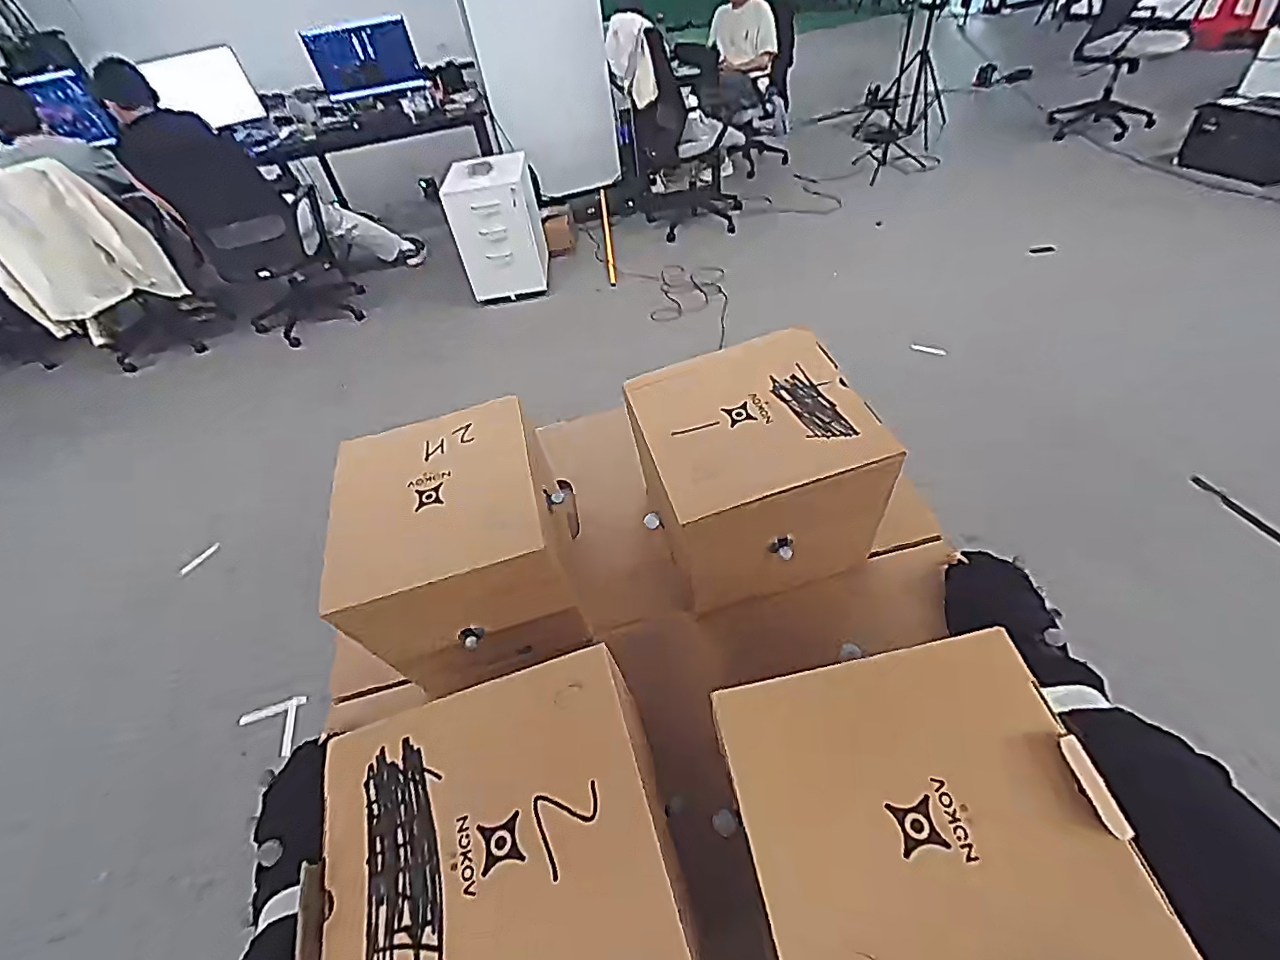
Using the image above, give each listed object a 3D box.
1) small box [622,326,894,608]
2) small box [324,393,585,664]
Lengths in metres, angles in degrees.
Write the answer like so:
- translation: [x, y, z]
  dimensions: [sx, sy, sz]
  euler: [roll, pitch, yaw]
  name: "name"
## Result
- translation: [0.097, -0.007, 0.503]
  dimensions: [0.179, 0.176, 0.168]
  euler: [-18, 52, -2]
  name: "small box"
- translation: [-0.157, 0.054, 0.503]
  dimensions: [0.168, 0.176, 0.179]
  euler: [-16, 51, -3]
  name: "small box"
